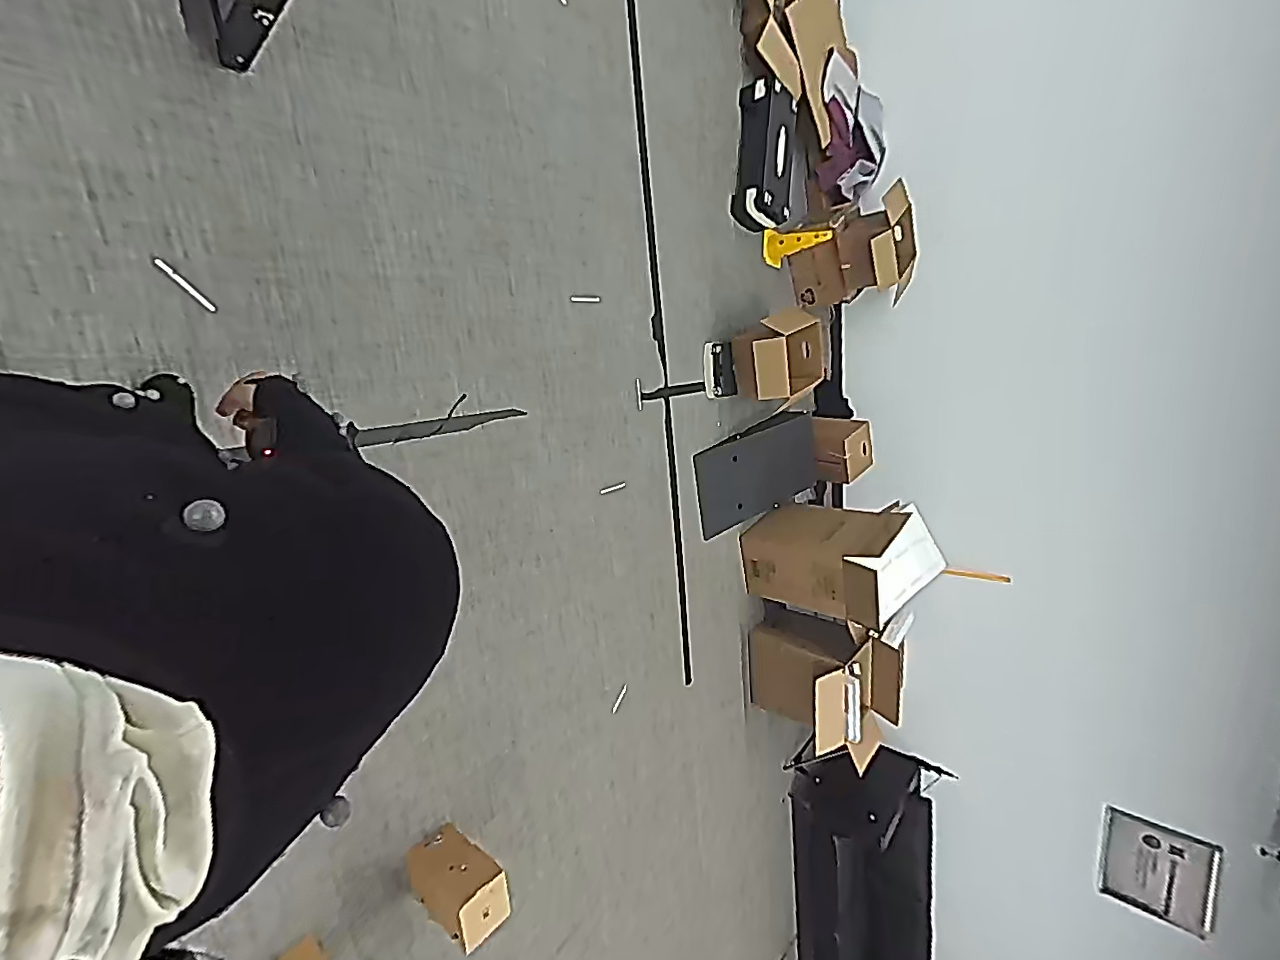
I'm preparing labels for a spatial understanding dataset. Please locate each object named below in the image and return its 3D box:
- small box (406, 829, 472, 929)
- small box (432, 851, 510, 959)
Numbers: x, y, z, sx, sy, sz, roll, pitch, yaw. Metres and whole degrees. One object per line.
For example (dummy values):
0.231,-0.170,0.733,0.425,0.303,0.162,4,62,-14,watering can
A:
-0.664,1.331,1.817,0.168,0.176,0.179,-17,107,-47,small box
-0.536,1.338,1.714,0.168,0.176,0.179,-17,107,-48,small box
